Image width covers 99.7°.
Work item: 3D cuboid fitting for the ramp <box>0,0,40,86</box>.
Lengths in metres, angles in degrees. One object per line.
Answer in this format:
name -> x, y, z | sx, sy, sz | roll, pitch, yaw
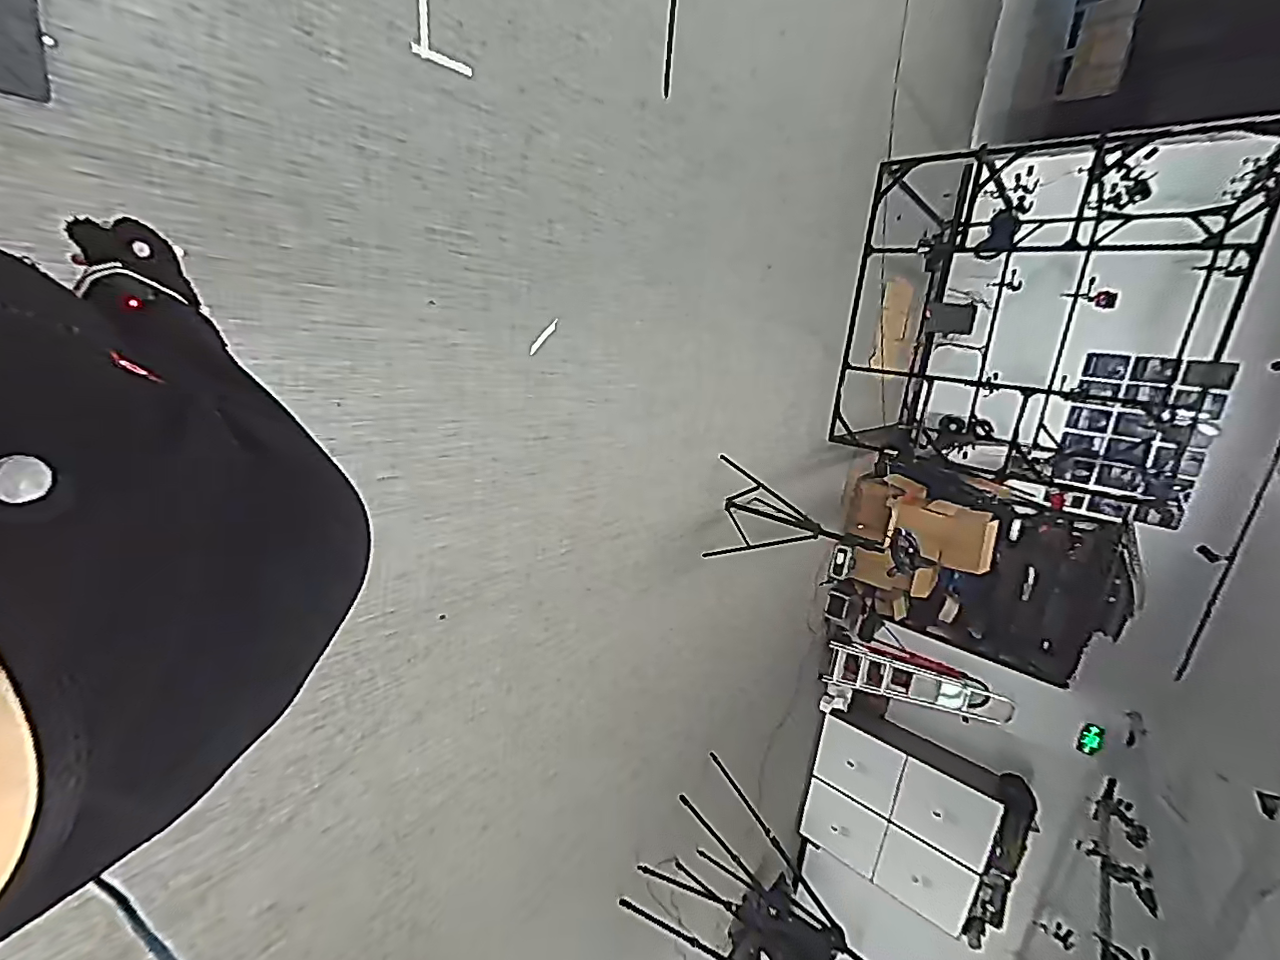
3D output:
ramp -> -1.073, -1.081, 0.565 | 0.509, 0.206, 0.991 | -17, 117, -49
